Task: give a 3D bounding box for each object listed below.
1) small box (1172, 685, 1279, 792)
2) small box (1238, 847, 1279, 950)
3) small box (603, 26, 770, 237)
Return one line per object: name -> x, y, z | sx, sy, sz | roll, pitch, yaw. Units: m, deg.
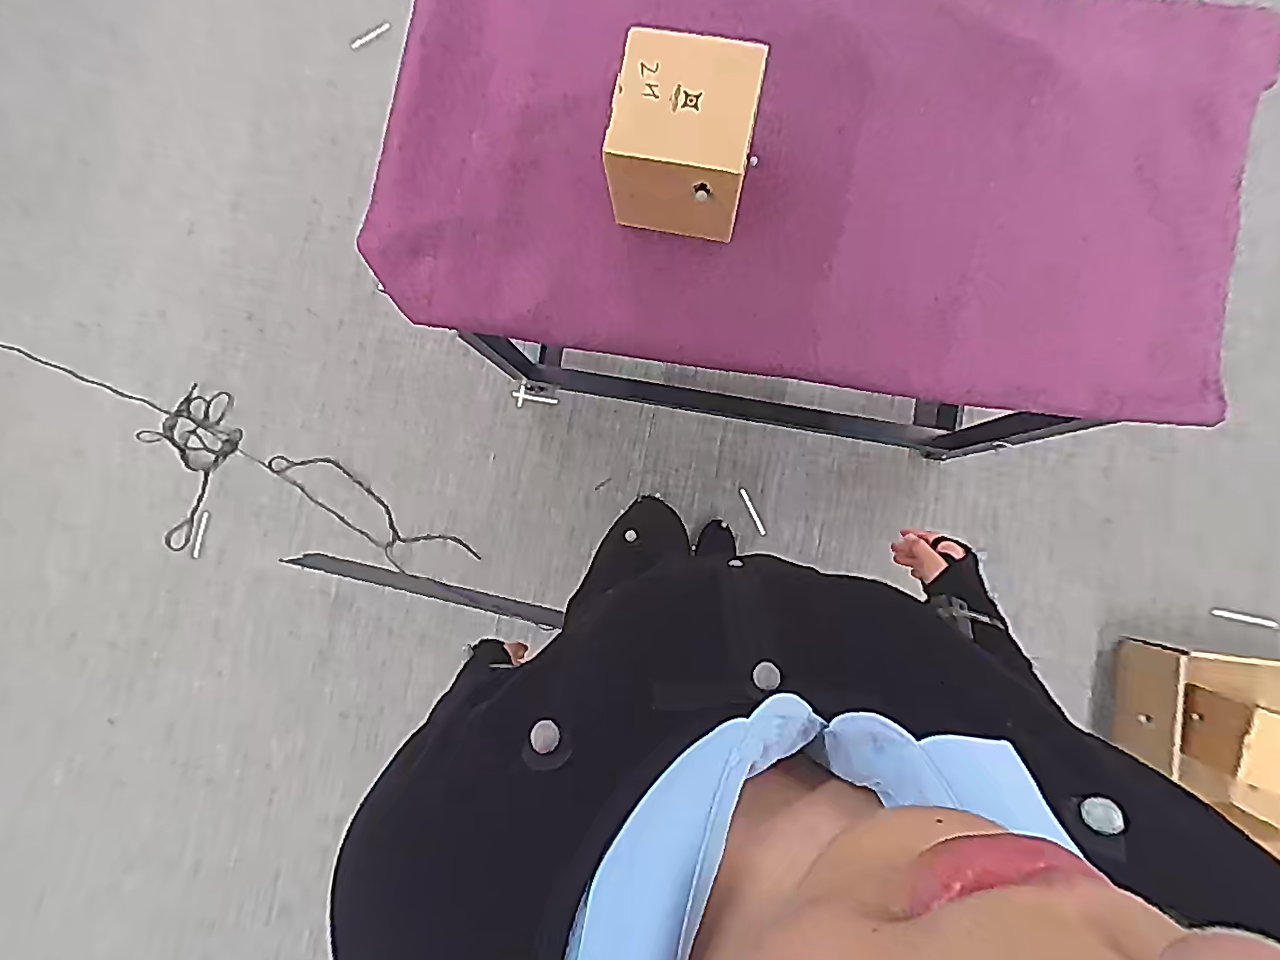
small box -> 1.408, 0.597, 1.245 | 0.179, 0.176, 0.168 | 17, 89, 5
small box -> 1.353, 0.863, 1.067 | 0.179, 0.176, 0.168 | 7, 87, 4
small box -> 0.062, -0.455, 0.733 | 0.179, 0.176, 0.168 | 12, 87, 5
